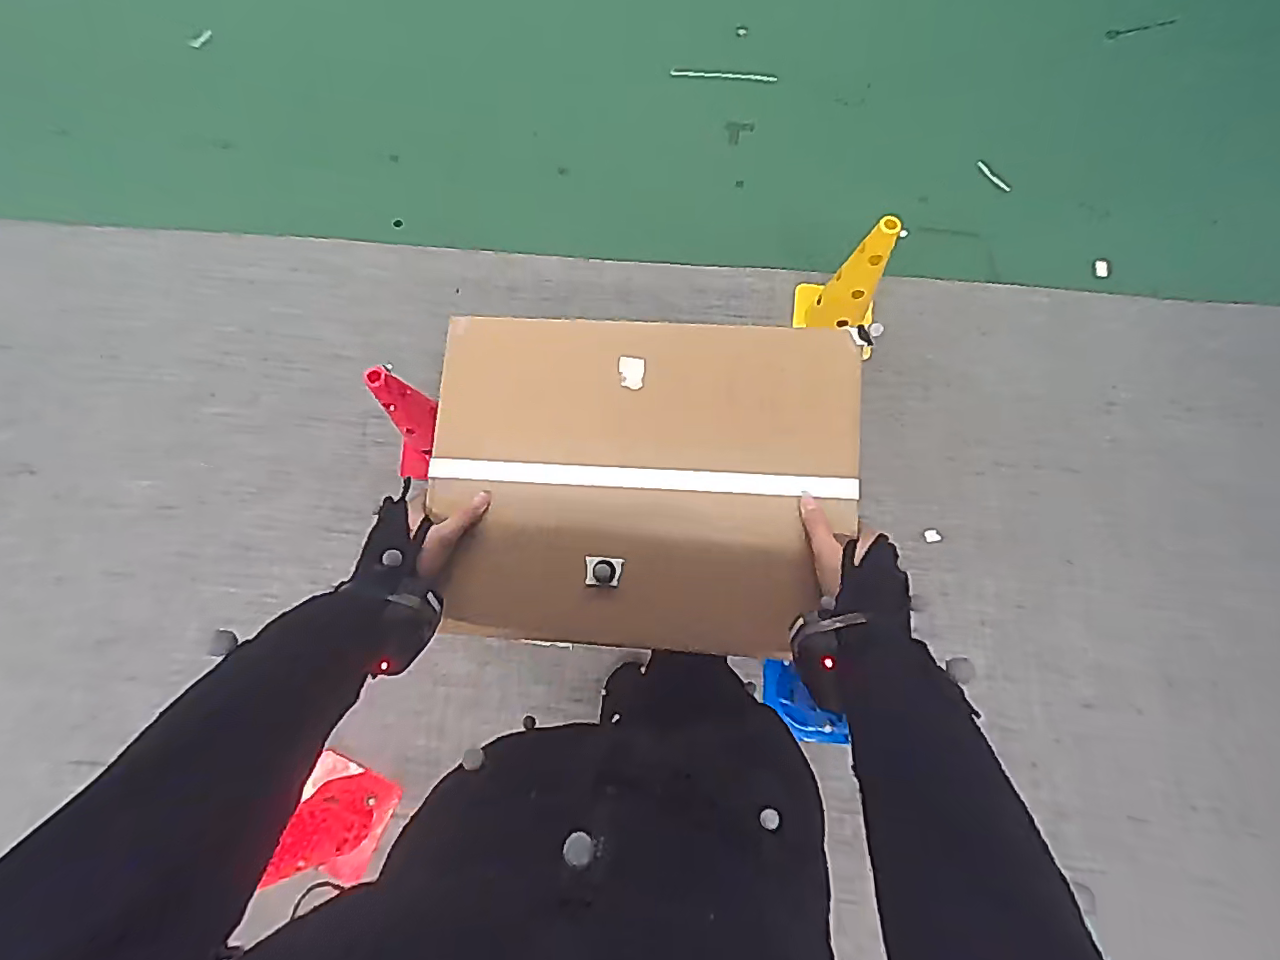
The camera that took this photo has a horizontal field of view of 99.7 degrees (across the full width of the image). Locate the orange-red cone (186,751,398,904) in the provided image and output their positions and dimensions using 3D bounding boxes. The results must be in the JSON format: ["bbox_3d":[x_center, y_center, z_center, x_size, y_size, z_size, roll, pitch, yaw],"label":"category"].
[{"bbox_3d":[-0.629,0.641,0.946,0.199,0.360,0.198,24,76,10],"label":"orange-red cone"}]

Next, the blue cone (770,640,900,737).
[{"bbox_3d":[0.369,0.399,0.994,0.192,0.380,0.193,5,75,3],"label":"blue cone"}]

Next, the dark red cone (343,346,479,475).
[{"bbox_3d":[-0.494,-0.161,1.138,0.202,0.394,0.201,-3,72,1],"label":"dark red cone"}]
